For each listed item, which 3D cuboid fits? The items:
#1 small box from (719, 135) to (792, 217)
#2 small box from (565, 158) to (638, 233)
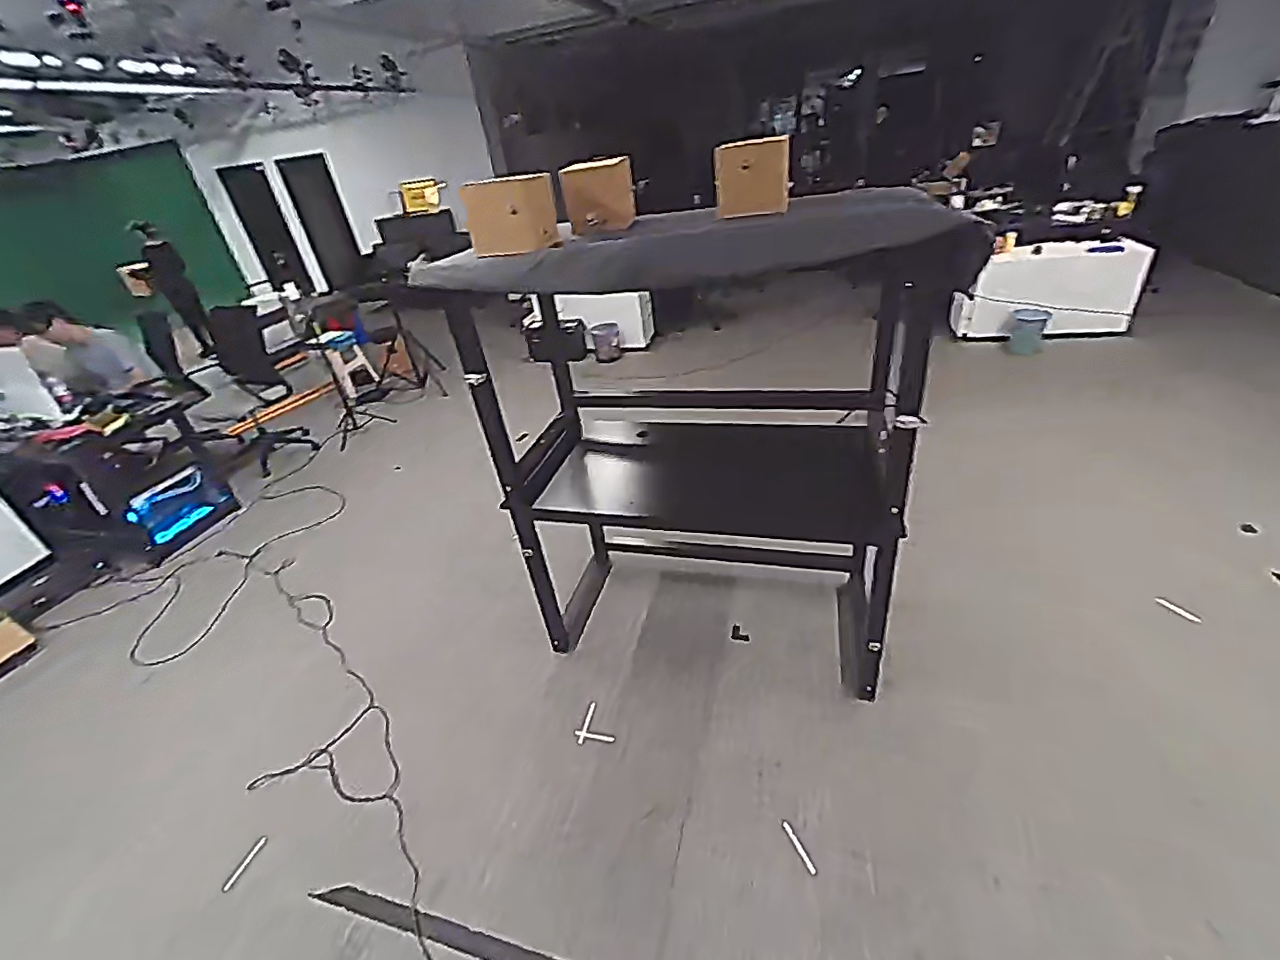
[{"bbox_3d":[0.315,-0.818,1.460,0.179,0.176,0.168,3,35,17],"label":"small box"},{"bbox_3d":[-0.104,-0.824,1.570,0.168,0.176,0.179,-2,33,12],"label":"small box"}]
